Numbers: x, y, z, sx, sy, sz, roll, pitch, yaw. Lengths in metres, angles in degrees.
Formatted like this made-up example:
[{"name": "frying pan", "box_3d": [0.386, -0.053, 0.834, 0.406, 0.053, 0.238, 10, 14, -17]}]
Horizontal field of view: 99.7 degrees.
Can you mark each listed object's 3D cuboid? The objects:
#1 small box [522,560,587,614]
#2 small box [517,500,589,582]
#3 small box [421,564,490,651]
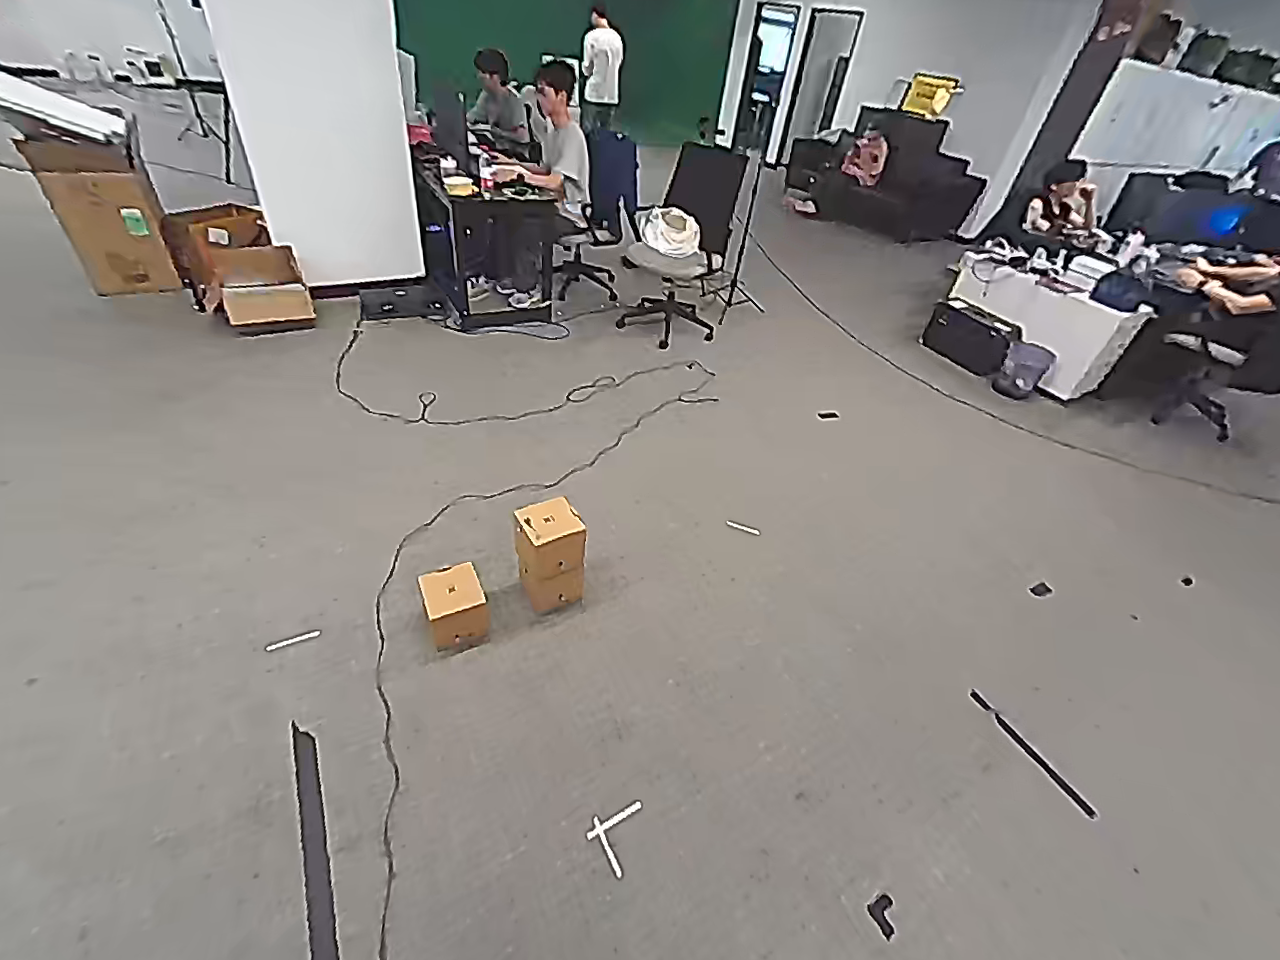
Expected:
[{"name": "small box", "box_3d": [-0.295, 0.318, 1.824, 0.168, 0.176, 0.179, -17, 46, -27]}, {"name": "small box", "box_3d": [-0.281, 0.193, 1.718, 0.179, 0.176, 0.168, -16, 45, -28]}, {"name": "small box", "box_3d": [-0.572, 0.396, 1.682, 0.168, 0.176, 0.179, -14, 45, -24]}]
